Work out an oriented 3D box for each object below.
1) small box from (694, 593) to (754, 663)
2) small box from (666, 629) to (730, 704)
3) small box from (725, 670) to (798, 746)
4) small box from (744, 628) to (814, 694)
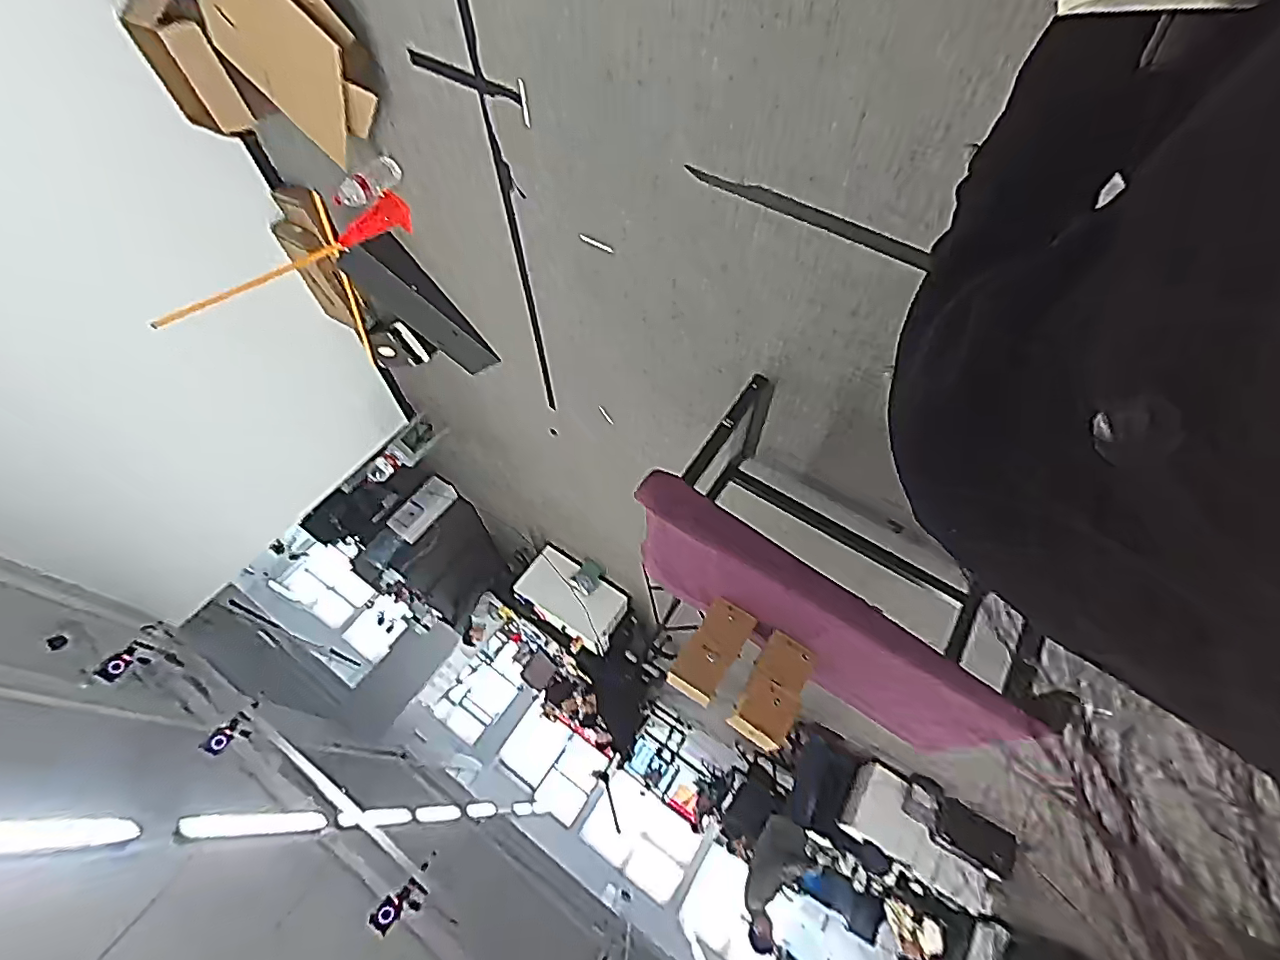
[{"bbox_3d":[0.301,0.549,1.993,0.168,0.176,0.179,30,153,15],"label":"small box"},{"bbox_3d":[0.207,0.664,1.929,0.168,0.176,0.179,28,152,17],"label":"small box"},{"bbox_3d":[0.415,0.776,1.845,0.168,0.176,0.179,32,153,13],"label":"small box"},{"bbox_3d":[0.494,0.651,1.914,0.168,0.176,0.179,30,154,16],"label":"small box"}]
